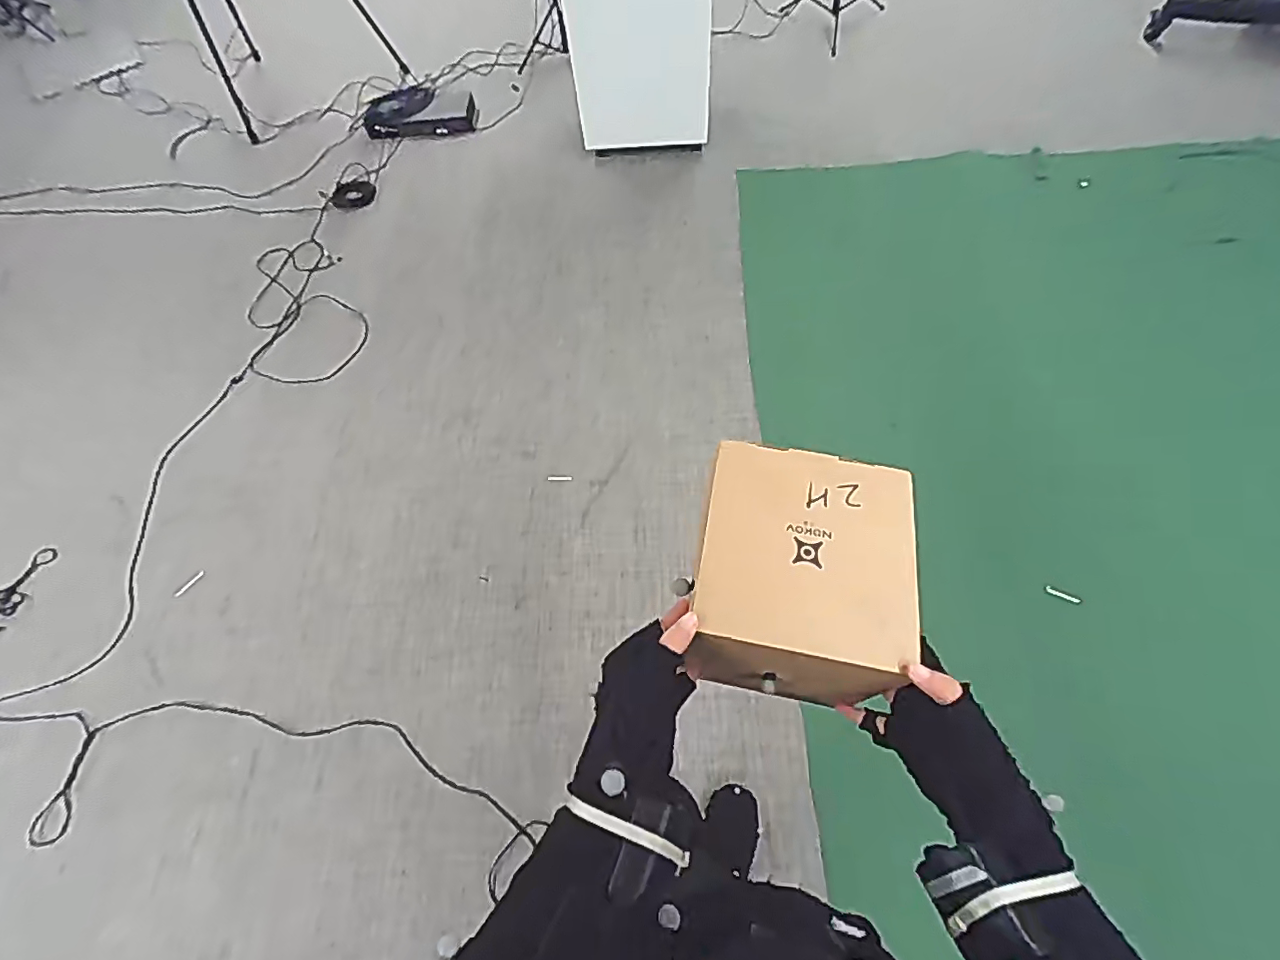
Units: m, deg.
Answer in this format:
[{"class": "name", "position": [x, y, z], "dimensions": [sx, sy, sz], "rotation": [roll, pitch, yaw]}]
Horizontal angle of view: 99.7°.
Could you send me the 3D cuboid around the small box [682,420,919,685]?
[{"class": "small box", "position": [0.134, 0.074, 0.494], "dimensions": [0.168, 0.176, 0.179], "rotation": [11, 61, 5]}]
